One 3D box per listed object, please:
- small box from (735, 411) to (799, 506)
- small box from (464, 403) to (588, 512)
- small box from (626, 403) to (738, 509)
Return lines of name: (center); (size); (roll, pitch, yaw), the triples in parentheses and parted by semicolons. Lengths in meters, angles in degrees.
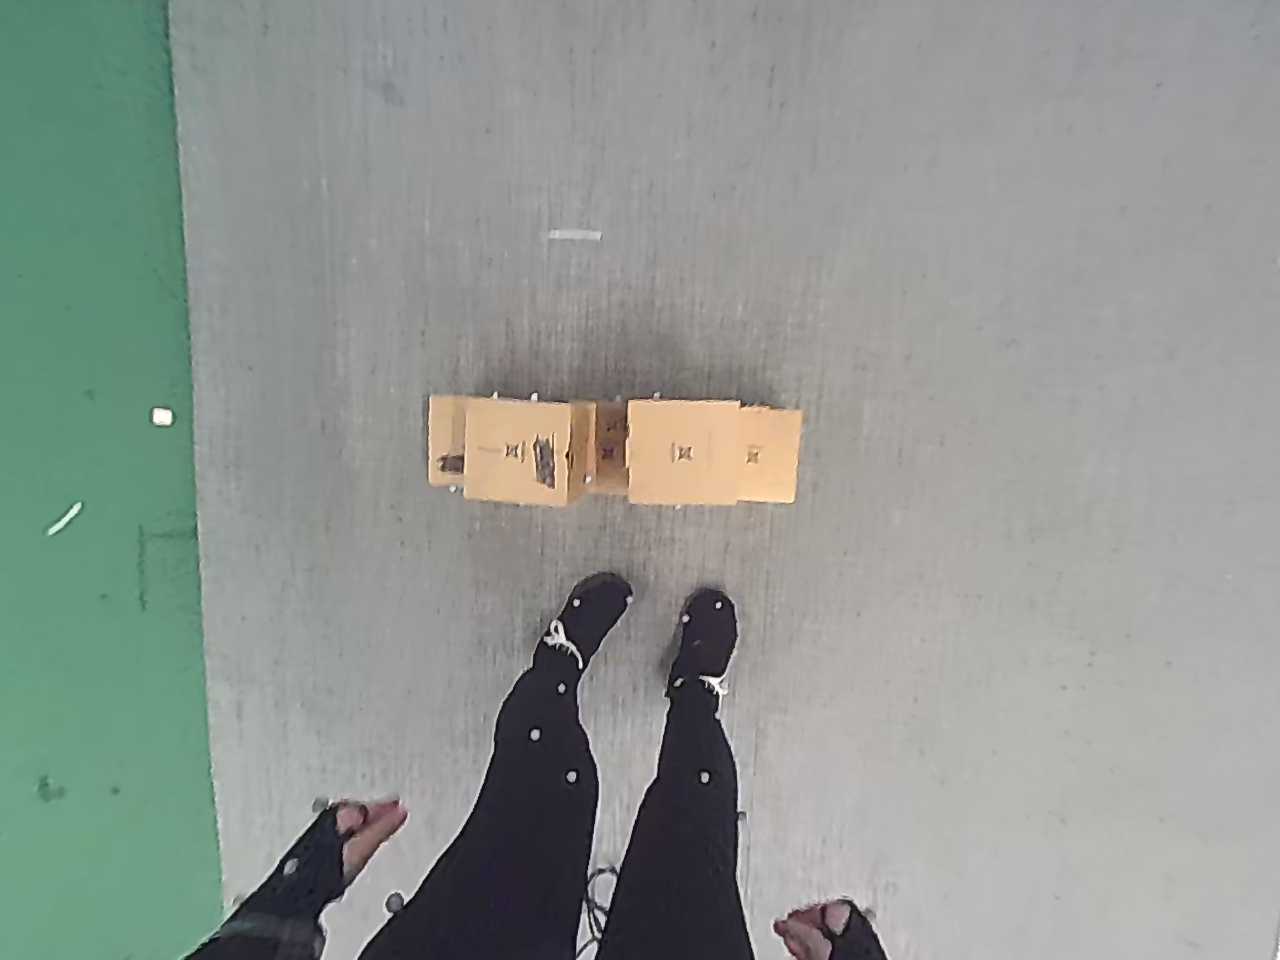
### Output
small box: (0.214, -0.050, 1.088); (0.168, 0.176, 0.179); (3, 96, 4)
small box: (-0.190, -0.045, 0.948); (0.179, 0.176, 0.168); (5, 96, 4)
small box: (0.069, -0.045, 0.933); (0.179, 0.176, 0.168); (1, 97, 2)
